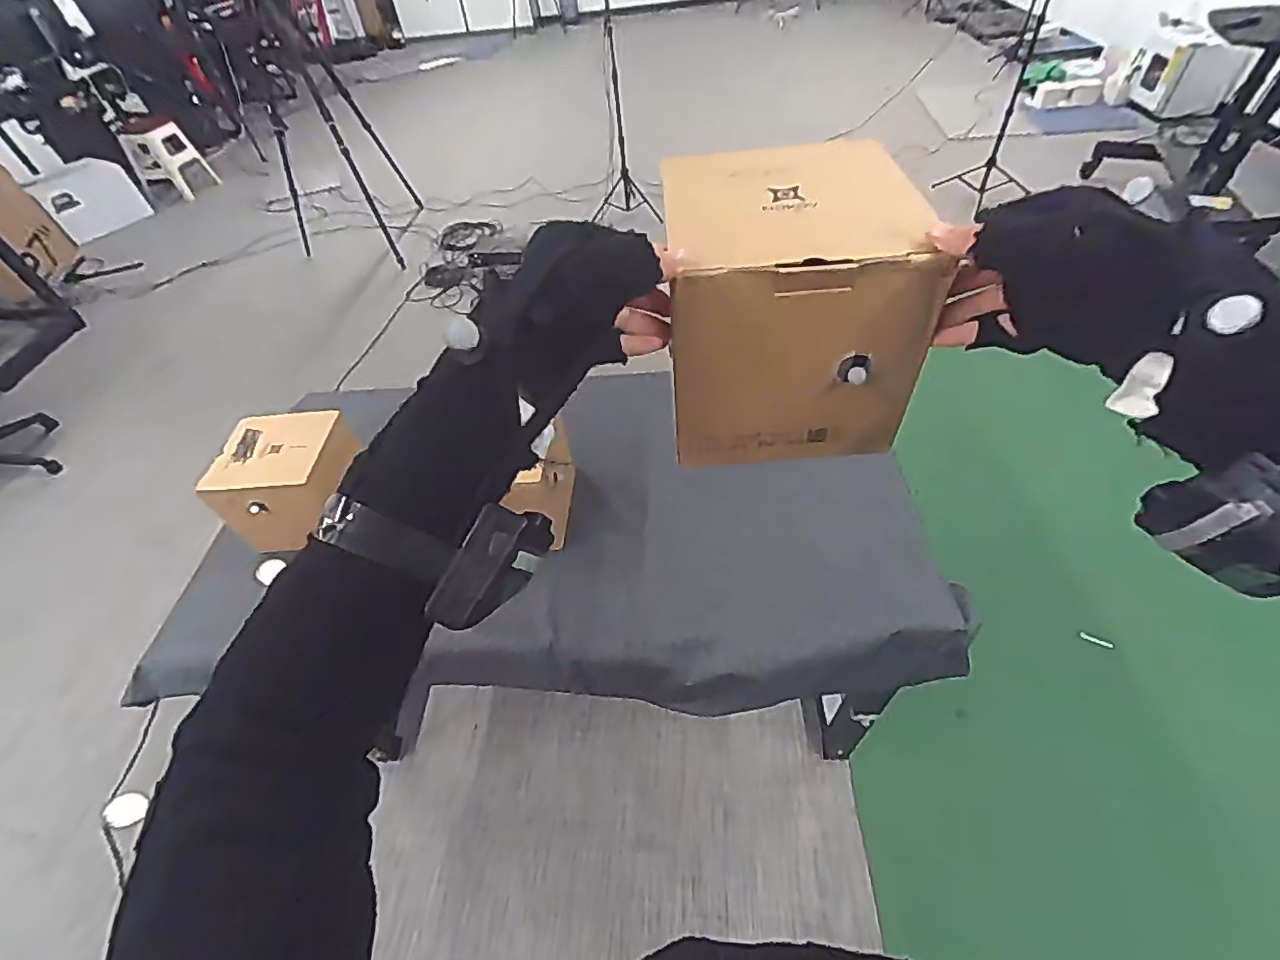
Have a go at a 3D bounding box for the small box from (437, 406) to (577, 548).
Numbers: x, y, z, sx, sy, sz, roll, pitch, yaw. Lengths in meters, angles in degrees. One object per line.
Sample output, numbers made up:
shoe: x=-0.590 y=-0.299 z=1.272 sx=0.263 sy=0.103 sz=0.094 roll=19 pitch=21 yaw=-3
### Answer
small box: x=-0.205 y=0.000 z=0.893 sx=0.168 sy=0.176 sz=0.179 roll=-1 pitch=50 yaw=6

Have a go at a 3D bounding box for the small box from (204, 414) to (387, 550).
small box: x=-0.574 y=0.007 z=0.930 sx=0.179 sy=0.176 sz=0.168 roll=-4 pitch=49 yaw=2

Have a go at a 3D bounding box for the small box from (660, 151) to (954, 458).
small box: x=0.105 y=-0.129 z=0.424 sx=0.168 sy=0.176 sz=0.179 roll=-4 pitch=48 yaw=3
